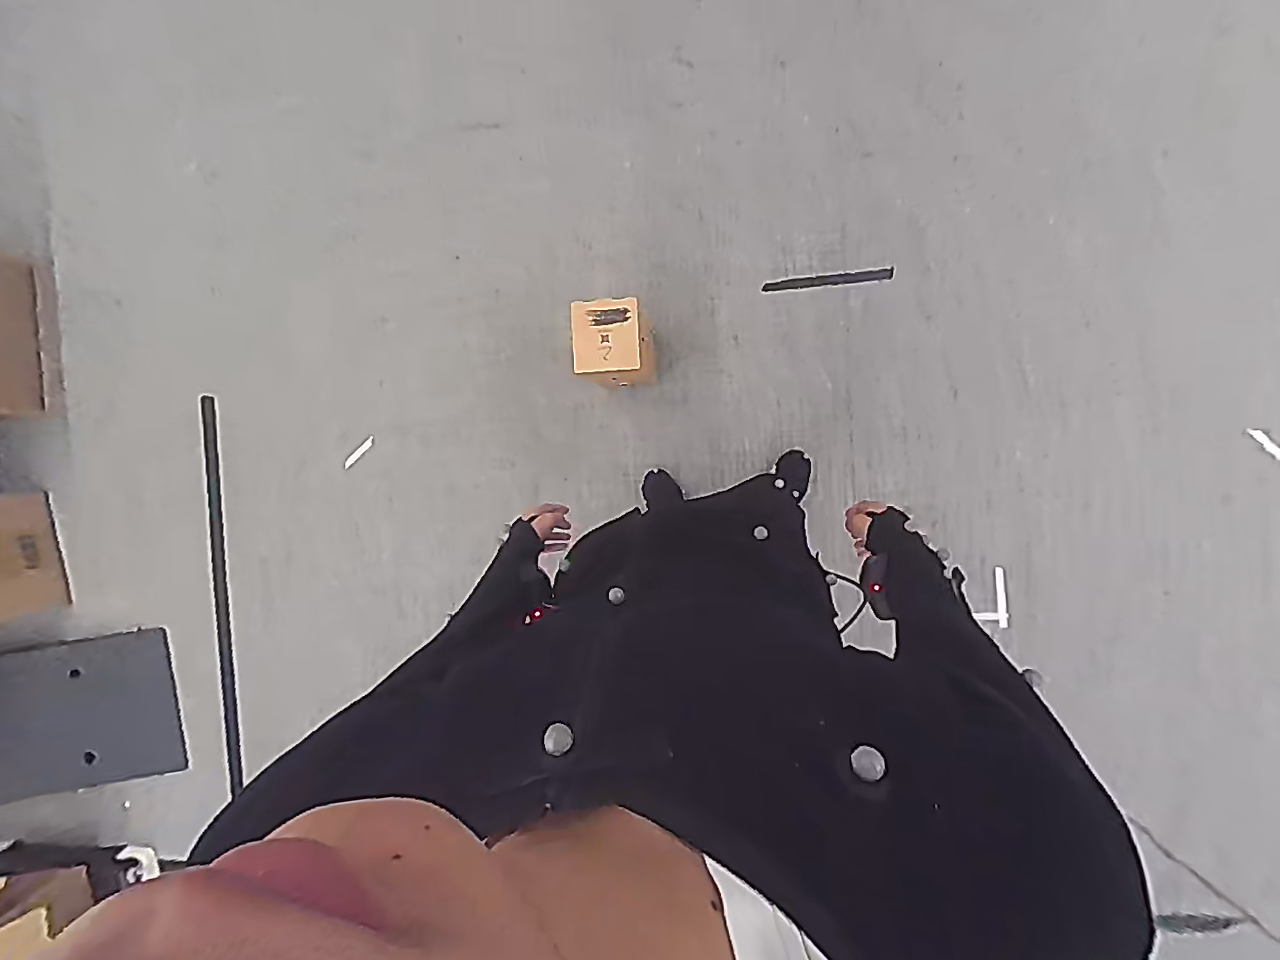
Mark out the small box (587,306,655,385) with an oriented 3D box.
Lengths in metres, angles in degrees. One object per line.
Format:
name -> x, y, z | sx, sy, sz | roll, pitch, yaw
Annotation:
small box -> -0.049, -0.378, 1.542 | 0.168, 0.176, 0.179 | -5, 91, 7
